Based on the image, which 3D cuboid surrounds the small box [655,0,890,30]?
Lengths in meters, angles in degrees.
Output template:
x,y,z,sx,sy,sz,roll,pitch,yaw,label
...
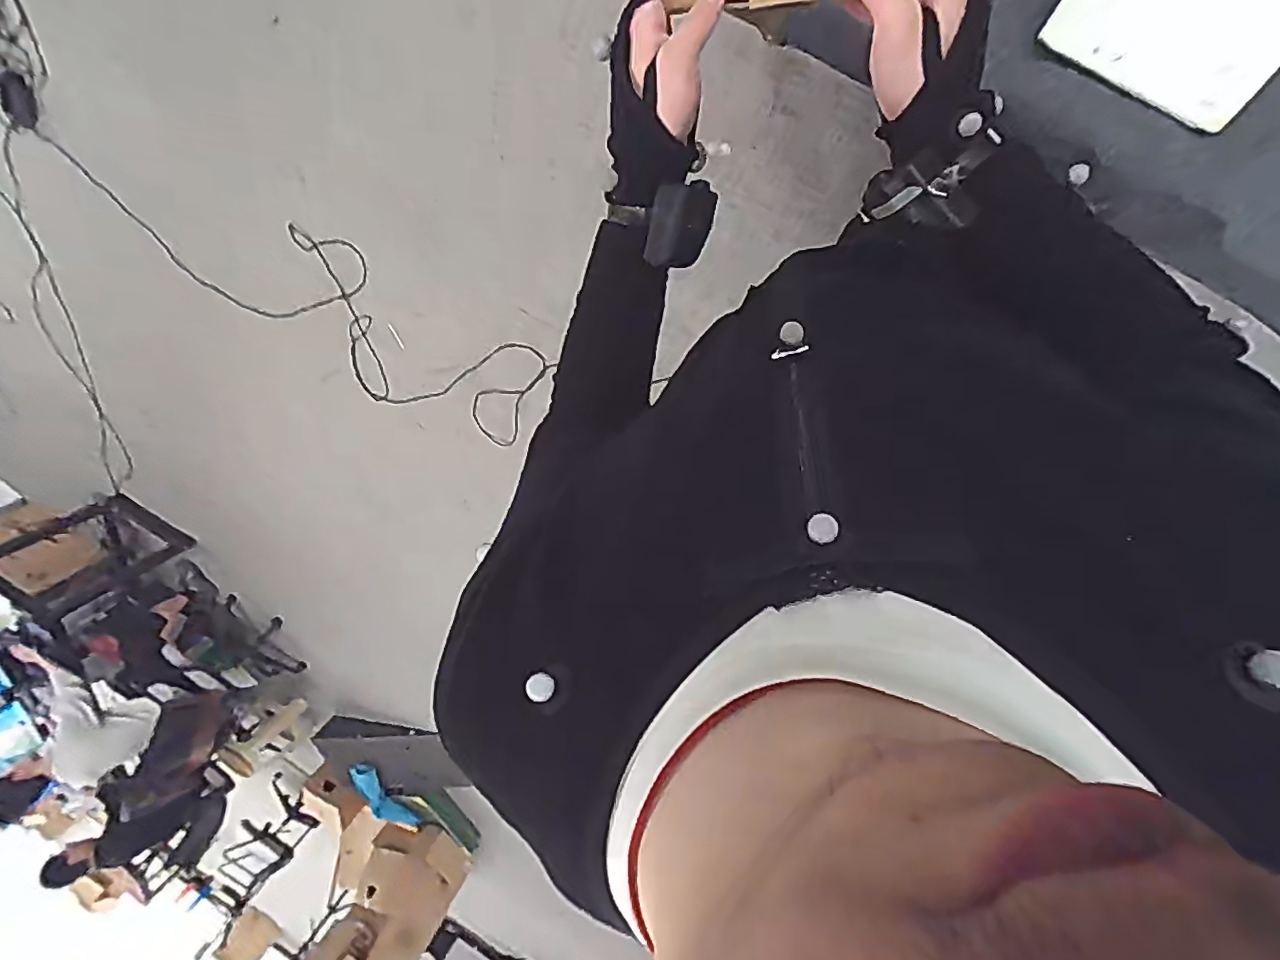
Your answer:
x,y,z,sx,sy,sz,roll,pitch,yaw,label
0.095,-0.429,0.362,0.168,0.176,0.179,1,132,11,small box
